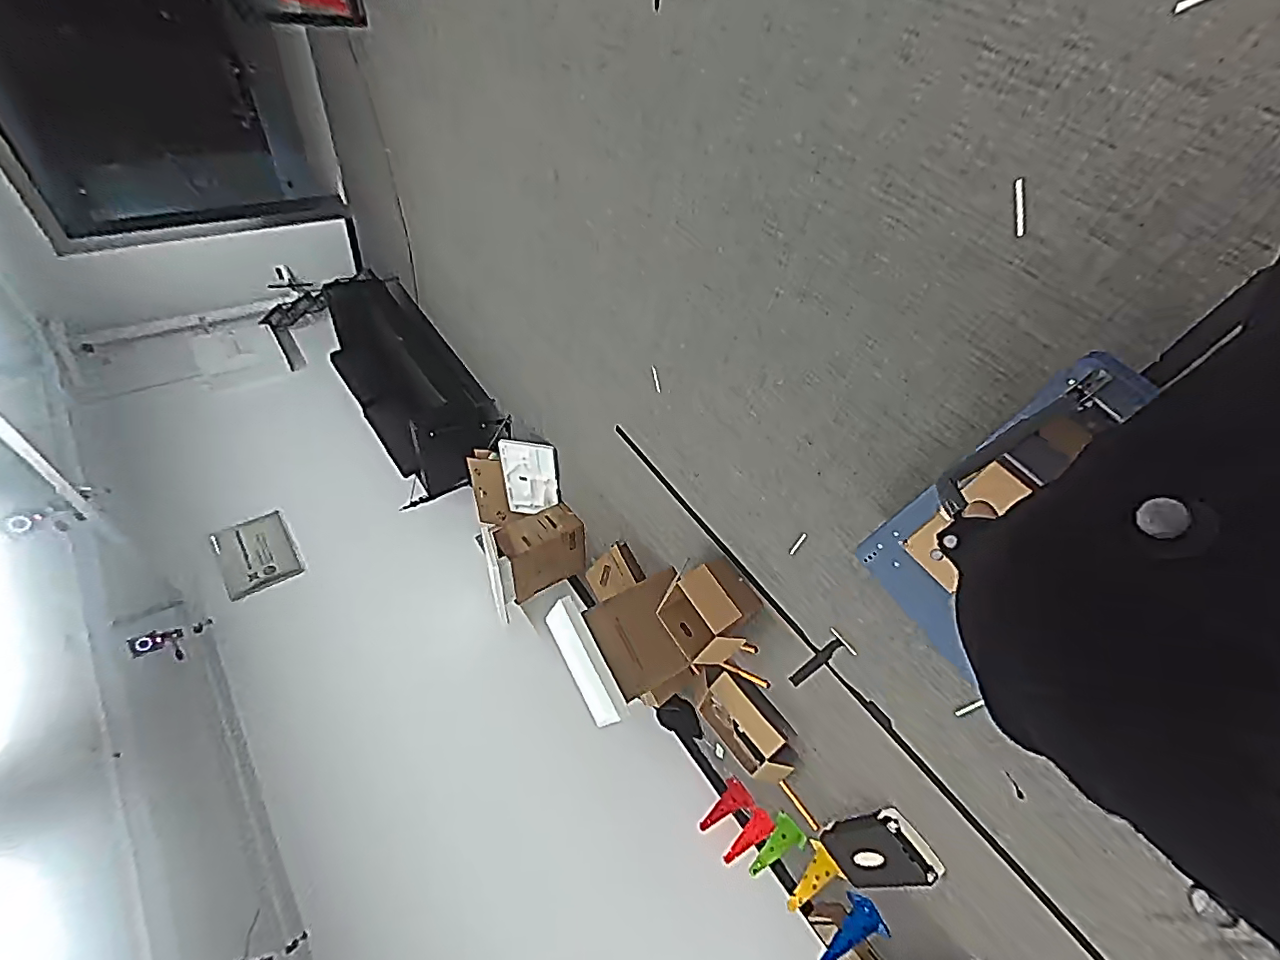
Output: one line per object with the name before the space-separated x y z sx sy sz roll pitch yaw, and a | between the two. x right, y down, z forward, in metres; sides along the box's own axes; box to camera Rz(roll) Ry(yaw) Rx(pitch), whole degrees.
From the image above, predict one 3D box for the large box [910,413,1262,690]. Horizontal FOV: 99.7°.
large box | 0.877 0.135 1.108 0.408 0.320 0.320 51 147 25
